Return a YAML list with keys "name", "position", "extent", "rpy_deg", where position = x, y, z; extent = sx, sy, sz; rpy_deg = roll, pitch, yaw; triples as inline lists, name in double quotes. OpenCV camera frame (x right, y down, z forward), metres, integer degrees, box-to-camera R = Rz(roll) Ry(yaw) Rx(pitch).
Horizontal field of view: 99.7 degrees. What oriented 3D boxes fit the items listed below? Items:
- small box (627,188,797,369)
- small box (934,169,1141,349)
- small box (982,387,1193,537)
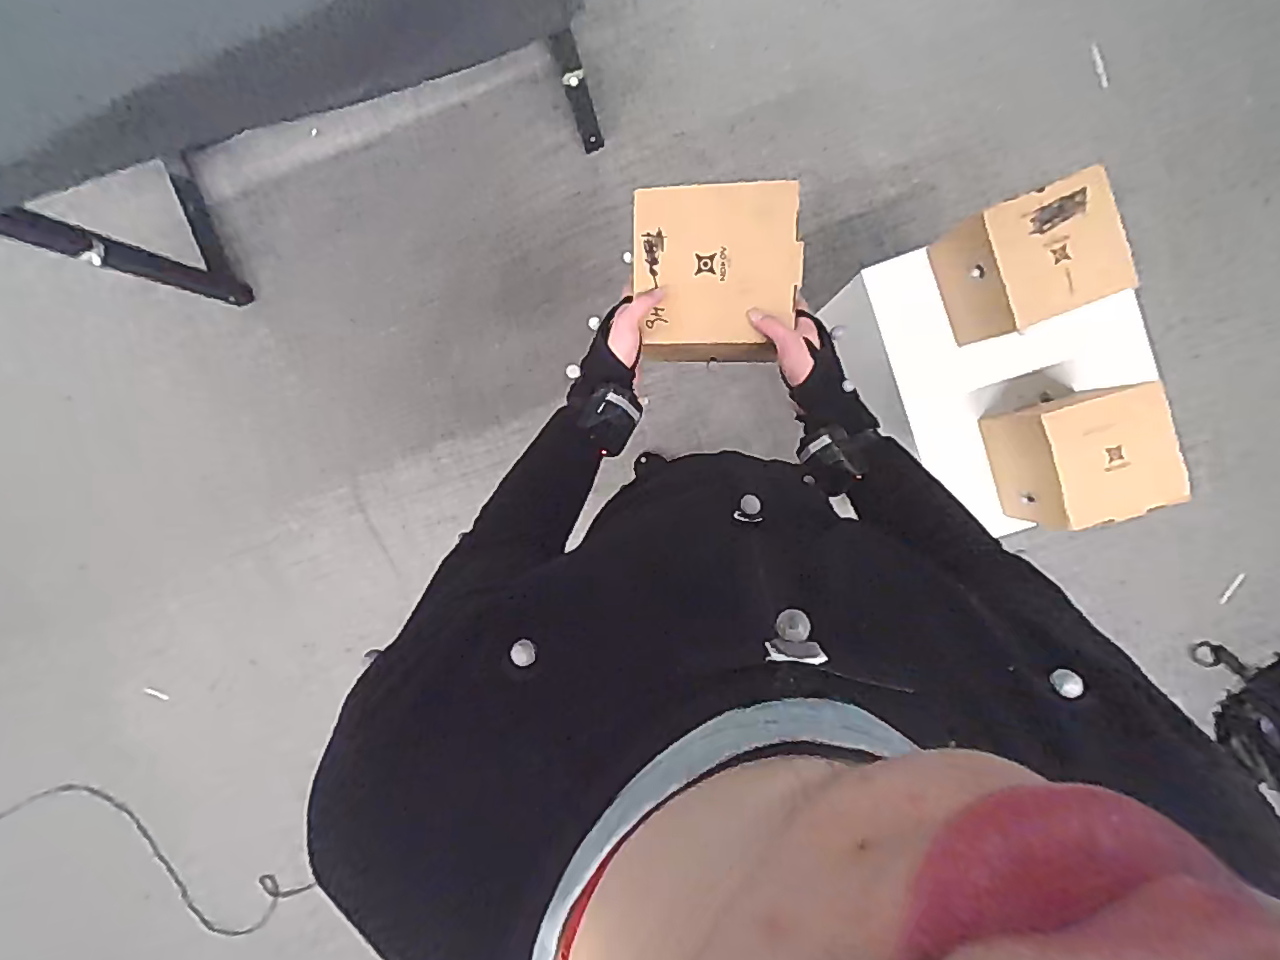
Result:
- name: "small box"
  position: [0.083, -0.228, 0.650]
  extent: [0.179, 0.176, 0.168]
  rpy_deg: [1, 94, 7]
- name: "small box"
  position: [0.574, -0.314, 0.807]
  extent: [0.168, 0.176, 0.179]
  rpy_deg: [-20, 94, 6]
- name: "small box"
  position: [0.664, -0.029, 0.824]
  extent: [0.168, 0.176, 0.179]
  rpy_deg: [-16, 92, 5]
